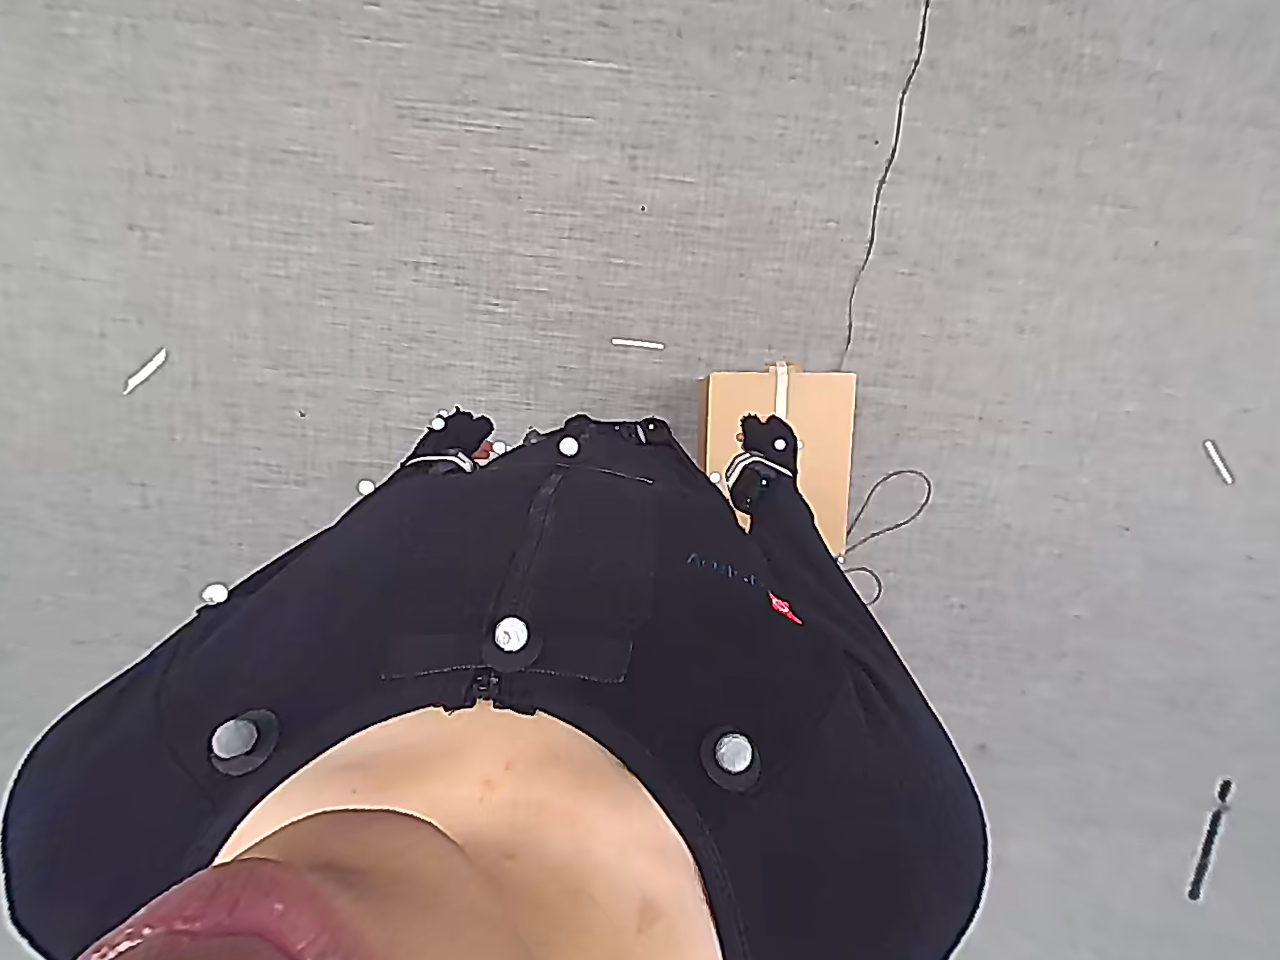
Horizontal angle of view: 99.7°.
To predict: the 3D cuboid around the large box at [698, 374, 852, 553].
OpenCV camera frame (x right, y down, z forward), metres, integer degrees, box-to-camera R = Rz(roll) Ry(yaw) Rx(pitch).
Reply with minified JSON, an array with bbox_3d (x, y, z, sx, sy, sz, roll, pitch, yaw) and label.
[{"bbox_3d":[0.310,-0.054,1.343,0.320,0.320,0.408,1,99,2],"label":"large box"}]
